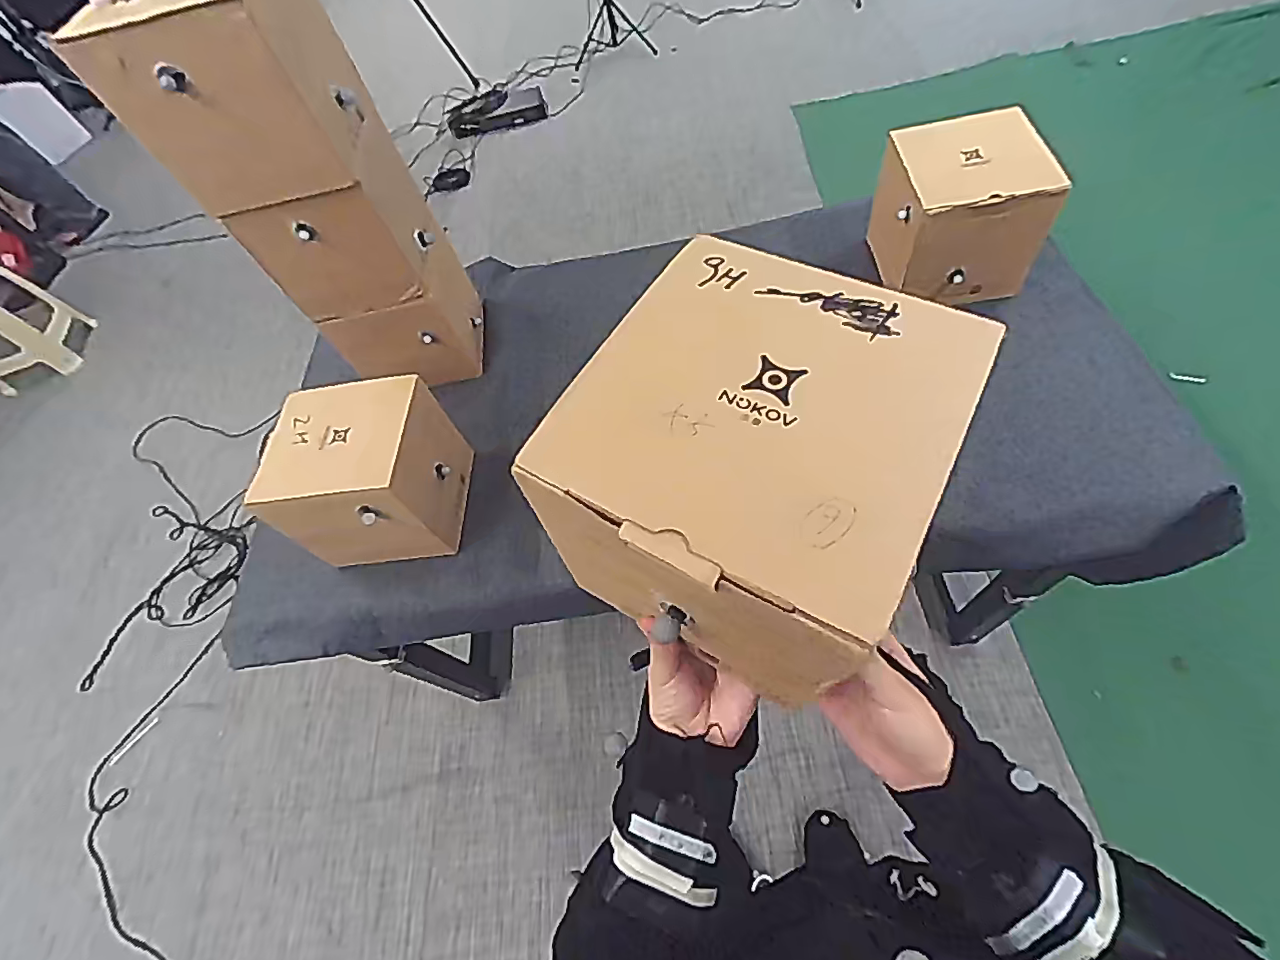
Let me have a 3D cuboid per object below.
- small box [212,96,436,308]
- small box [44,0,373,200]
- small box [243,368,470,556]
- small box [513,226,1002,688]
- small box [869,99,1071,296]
[{"bbox_3d":[-0.389,-0.348,0.700,0.179,0.176,0.168,-11,62,3],"label":"small box"},{"bbox_3d":[-0.411,-0.419,0.553,0.179,0.176,0.168,-10,62,4],"label":"small box"},{"bbox_3d":[-0.336,-0.015,0.686,0.179,0.176,0.168,-7,57,7],"label":"small box"},{"bbox_3d":[0.063,-0.003,0.313,0.168,0.176,0.179,26,68,18],"label":"small box"},{"bbox_3d":[0.430,-0.377,0.745,0.168,0.176,0.179,-7,61,8],"label":"small box"}]
